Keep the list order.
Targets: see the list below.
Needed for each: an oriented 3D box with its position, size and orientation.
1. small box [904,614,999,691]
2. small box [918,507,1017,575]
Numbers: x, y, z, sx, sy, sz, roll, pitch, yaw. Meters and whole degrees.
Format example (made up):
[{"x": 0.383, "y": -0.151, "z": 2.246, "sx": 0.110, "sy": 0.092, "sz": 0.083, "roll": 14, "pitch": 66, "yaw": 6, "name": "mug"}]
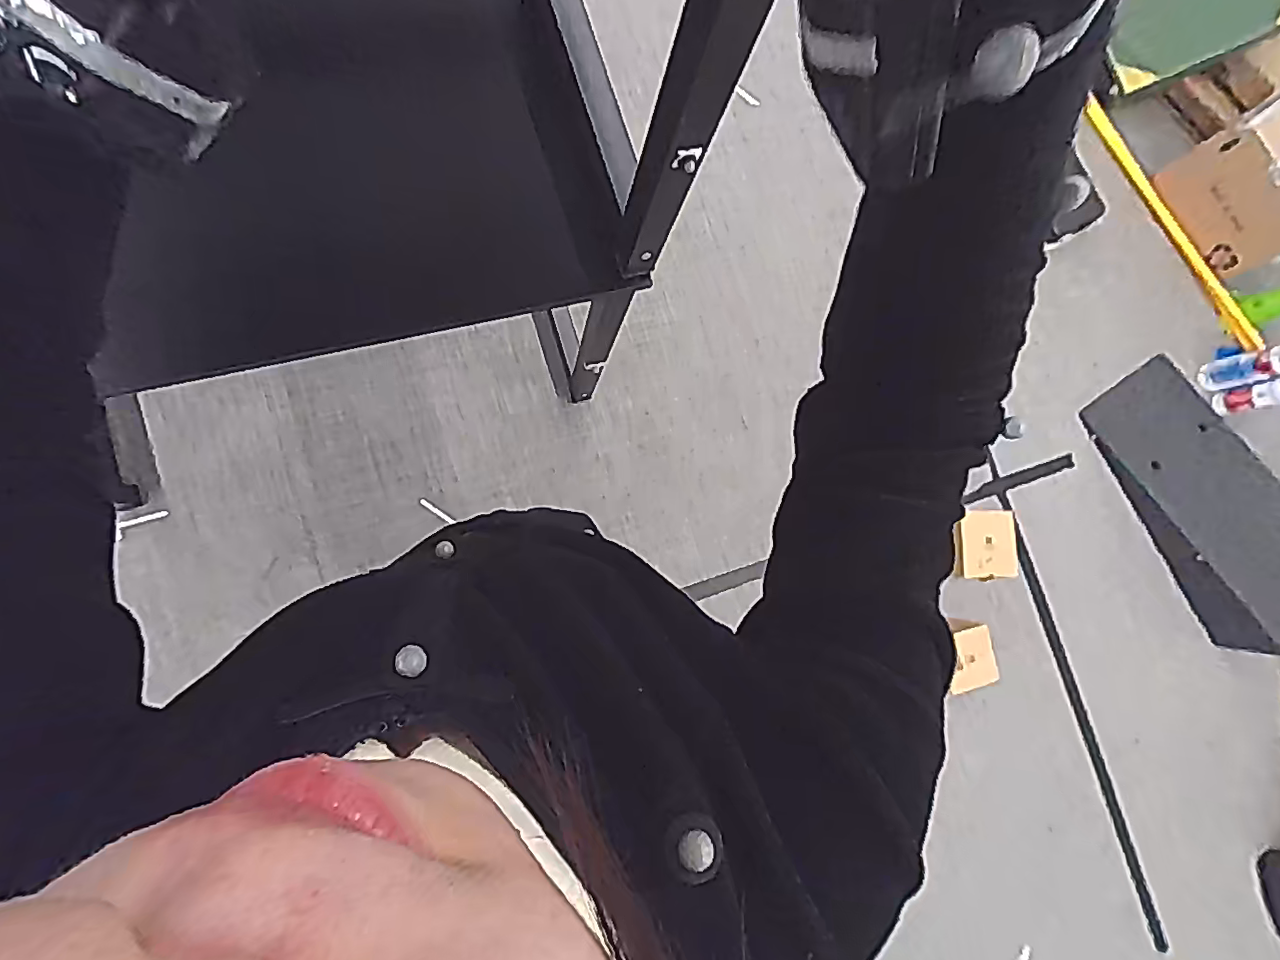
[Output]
[{"x": 0.924, "y": 0.511, "z": 1.624, "sx": 0.179, "sy": 0.176, "sz": 0.168, "roll": -11, "pitch": 87, "yaw": -14, "name": "small box"}, {"x": 0.890, "y": 0.168, "z": 1.482, "sx": 0.168, "sy": 0.176, "sz": 0.179, "roll": 1, "pitch": 83, "yaw": -11, "name": "small box"}]
